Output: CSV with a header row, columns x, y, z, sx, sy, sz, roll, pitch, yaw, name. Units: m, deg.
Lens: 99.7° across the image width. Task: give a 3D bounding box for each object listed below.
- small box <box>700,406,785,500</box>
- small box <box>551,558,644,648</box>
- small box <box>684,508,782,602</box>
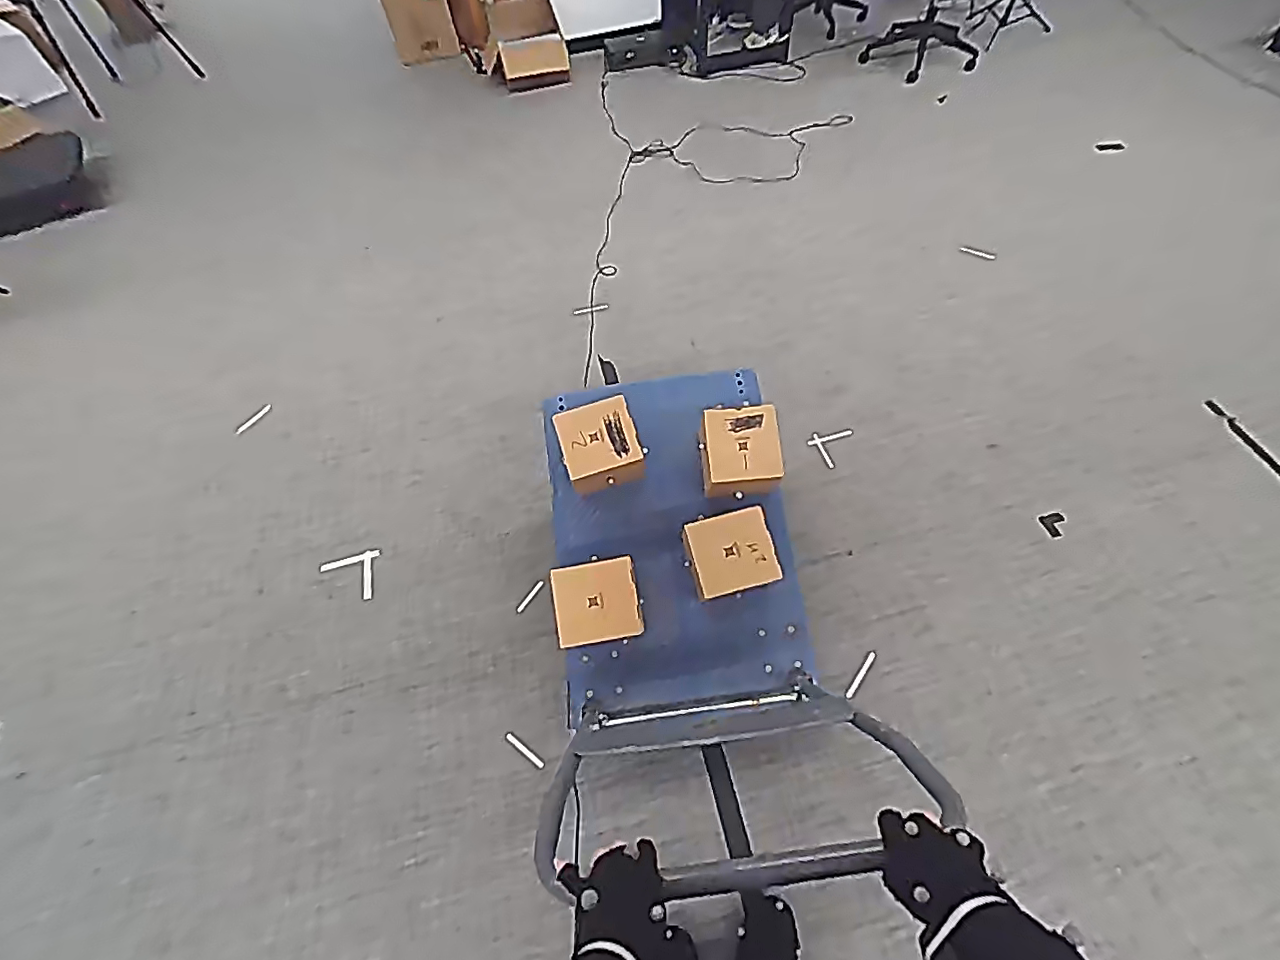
x,y,z,sx,sy,sz,roll,pitch,yaw,name
0.237,-0.060,1.295,0.168,0.176,0.179,-5,76,2,small box
-0.090,0.282,1.221,0.179,0.176,0.168,-10,75,-2,small box
0.204,0.177,1.235,0.179,0.176,0.168,-15,76,-1,small box
